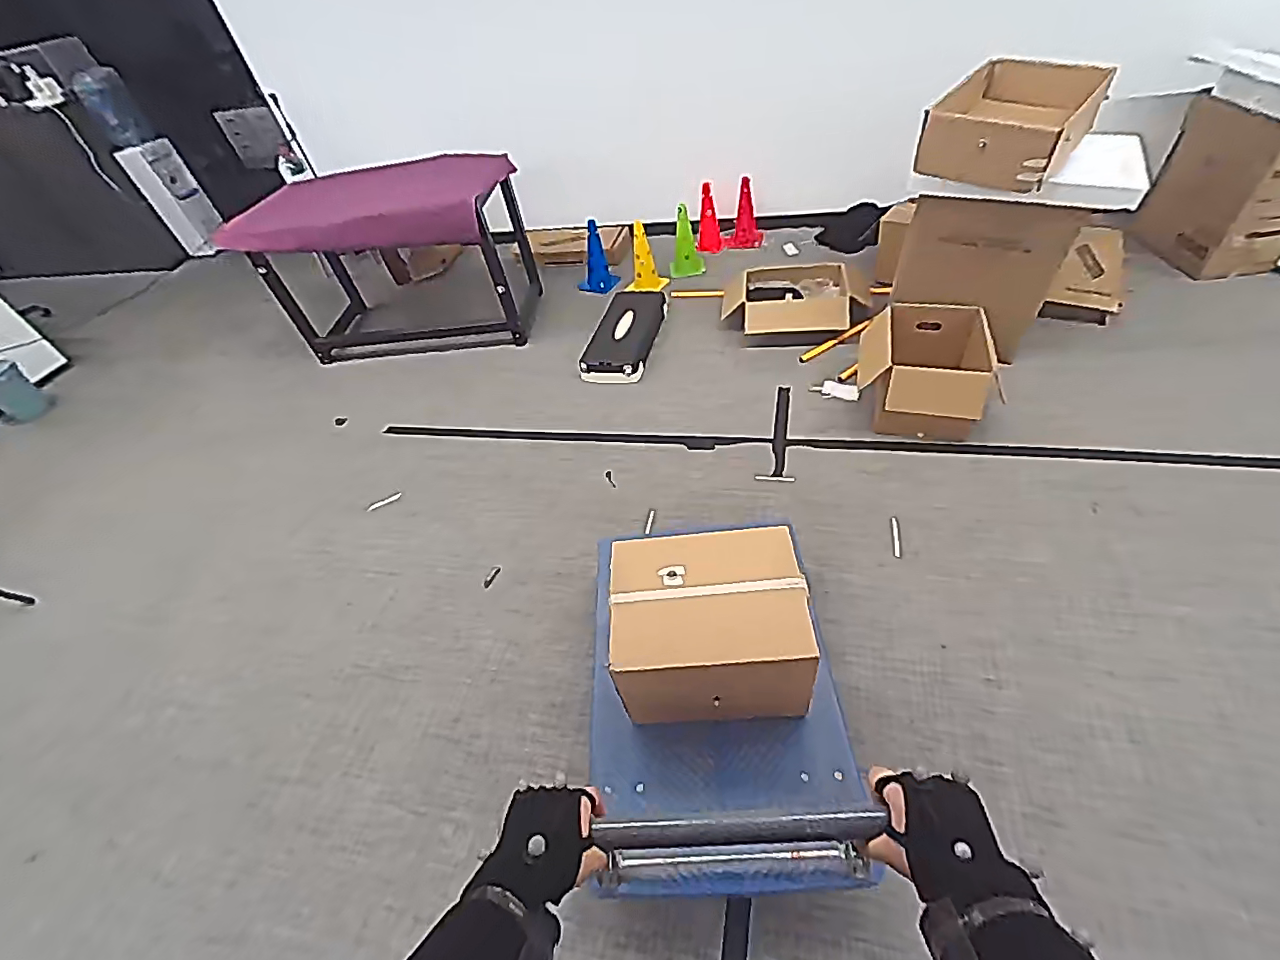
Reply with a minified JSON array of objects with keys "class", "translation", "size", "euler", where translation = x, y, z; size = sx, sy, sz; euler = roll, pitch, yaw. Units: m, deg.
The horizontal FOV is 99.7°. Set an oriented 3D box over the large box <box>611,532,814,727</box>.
[{"class":"large box","translation":[0.160,0.355,1.258],"size":[0.408,0.320,0.320],"euler":[-7,46,6]}]
